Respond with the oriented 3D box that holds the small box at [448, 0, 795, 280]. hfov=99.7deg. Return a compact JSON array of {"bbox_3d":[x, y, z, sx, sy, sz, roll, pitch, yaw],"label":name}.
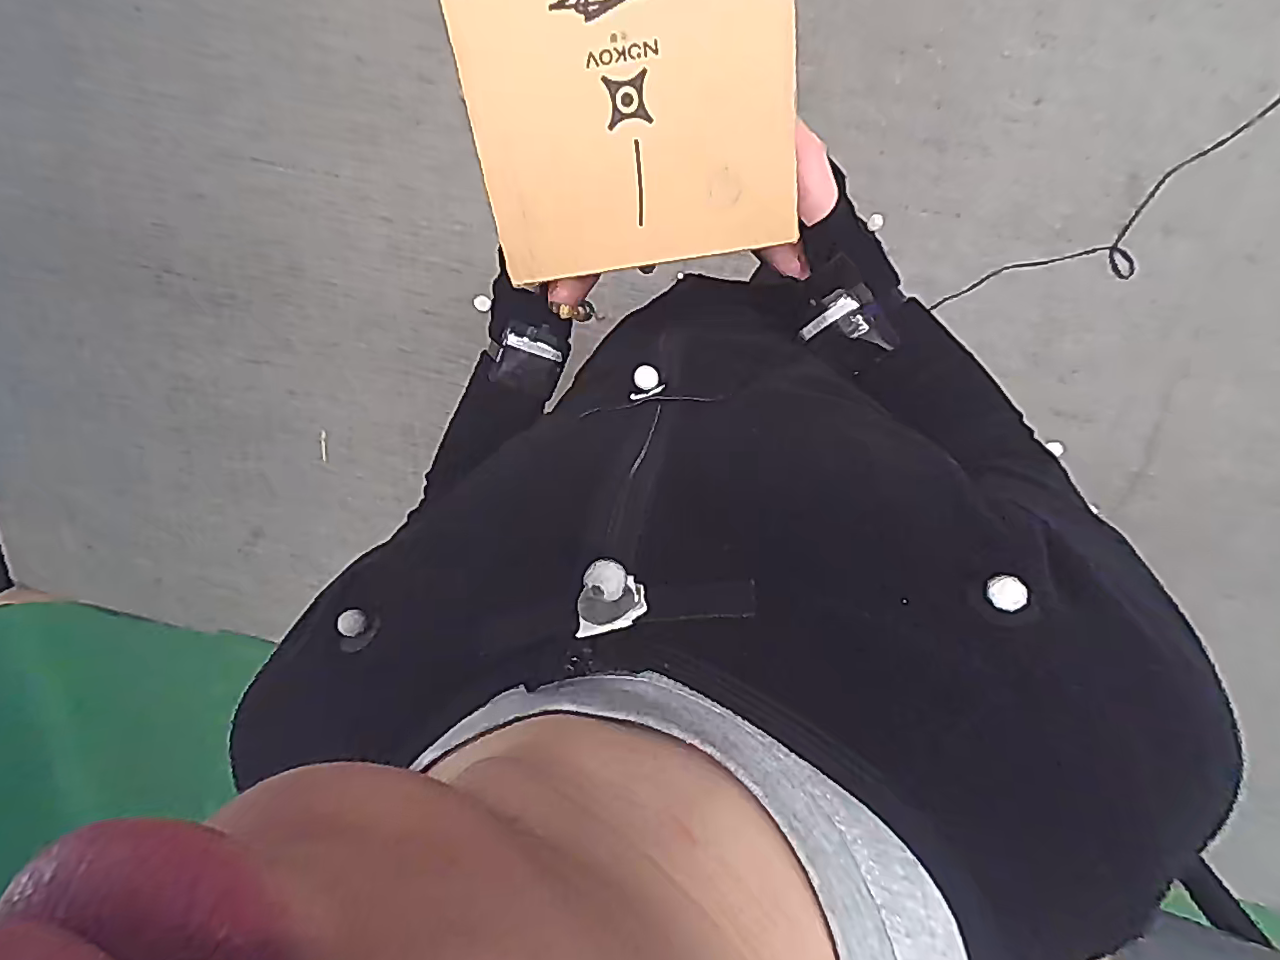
[{"bbox_3d":[-0.004,-0.237,0.340,0.168,0.176,0.179,-6,119,5],"label":"small box"}]
